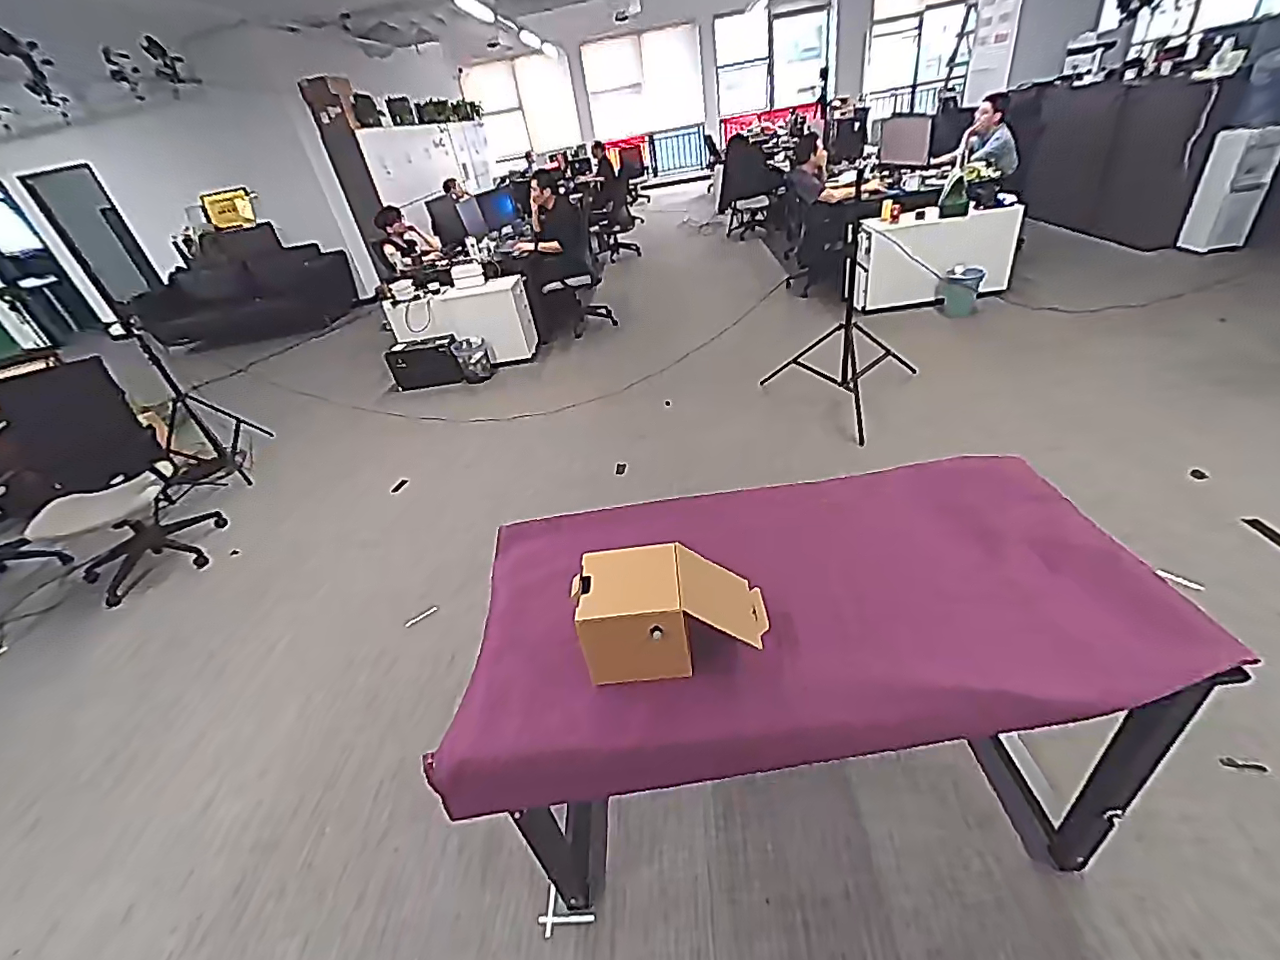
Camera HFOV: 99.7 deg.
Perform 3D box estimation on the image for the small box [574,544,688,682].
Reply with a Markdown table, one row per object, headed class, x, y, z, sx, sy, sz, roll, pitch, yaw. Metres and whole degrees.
| class | x | y | z | sx | sy | sz | roll | pitch | yaw |
| --- | --- | --- | --- | --- | --- | --- | --- | --- | --- |
| small box | -0.008 | 0.238 | 0.969 | 0.179 | 0.176 | 0.168 | -8 | 33 | 5 |
